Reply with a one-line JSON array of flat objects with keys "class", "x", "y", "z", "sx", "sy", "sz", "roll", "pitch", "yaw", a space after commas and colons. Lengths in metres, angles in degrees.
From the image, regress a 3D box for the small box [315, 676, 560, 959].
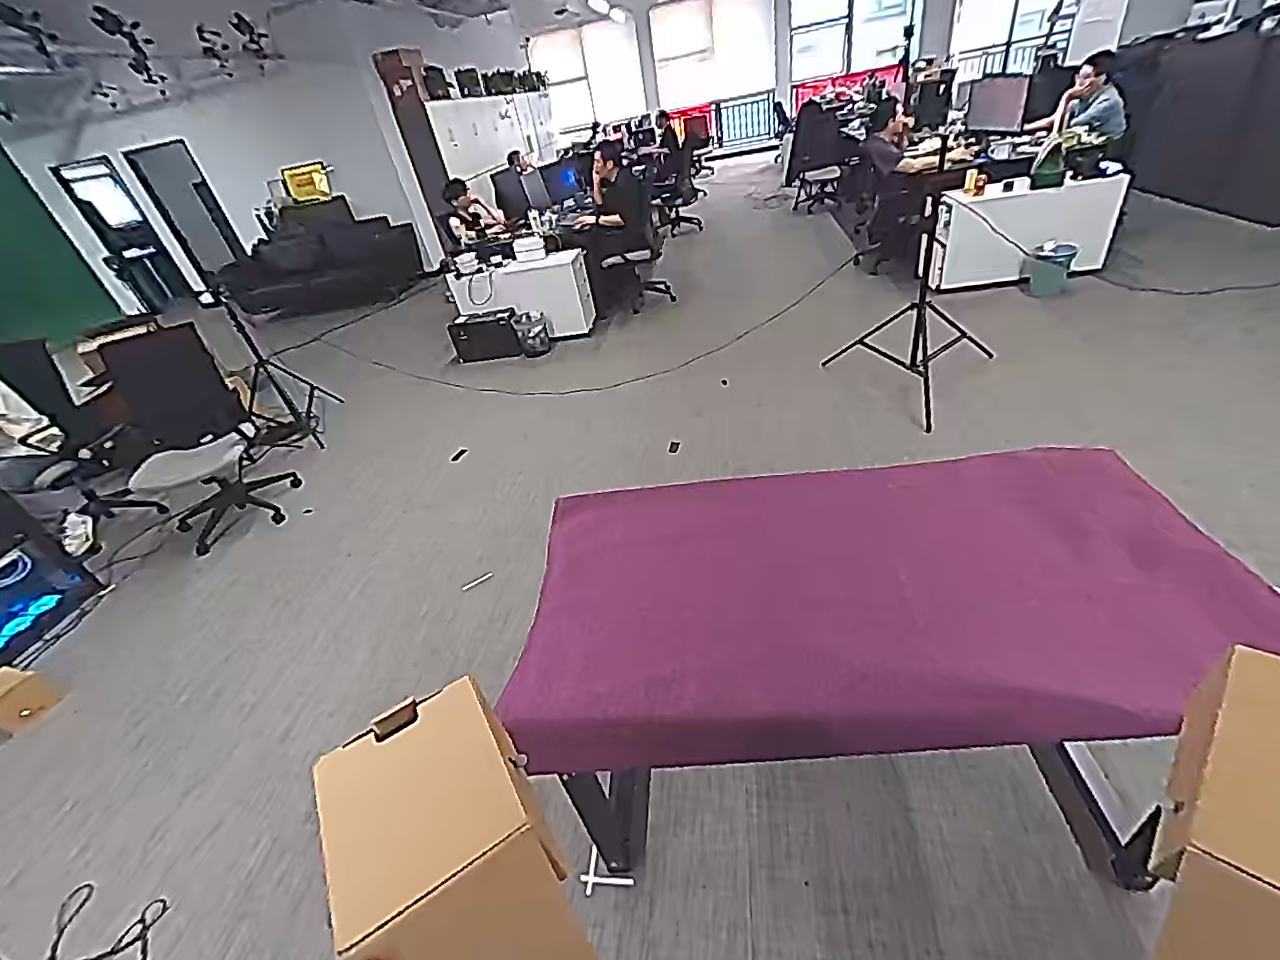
[{"class": "small box", "x": -0.199, "y": 0.348, "z": 0.553, "sx": 0.168, "sy": 0.176, "sz": 0.179, "roll": -26, "pitch": 42, "yaw": -20}]
